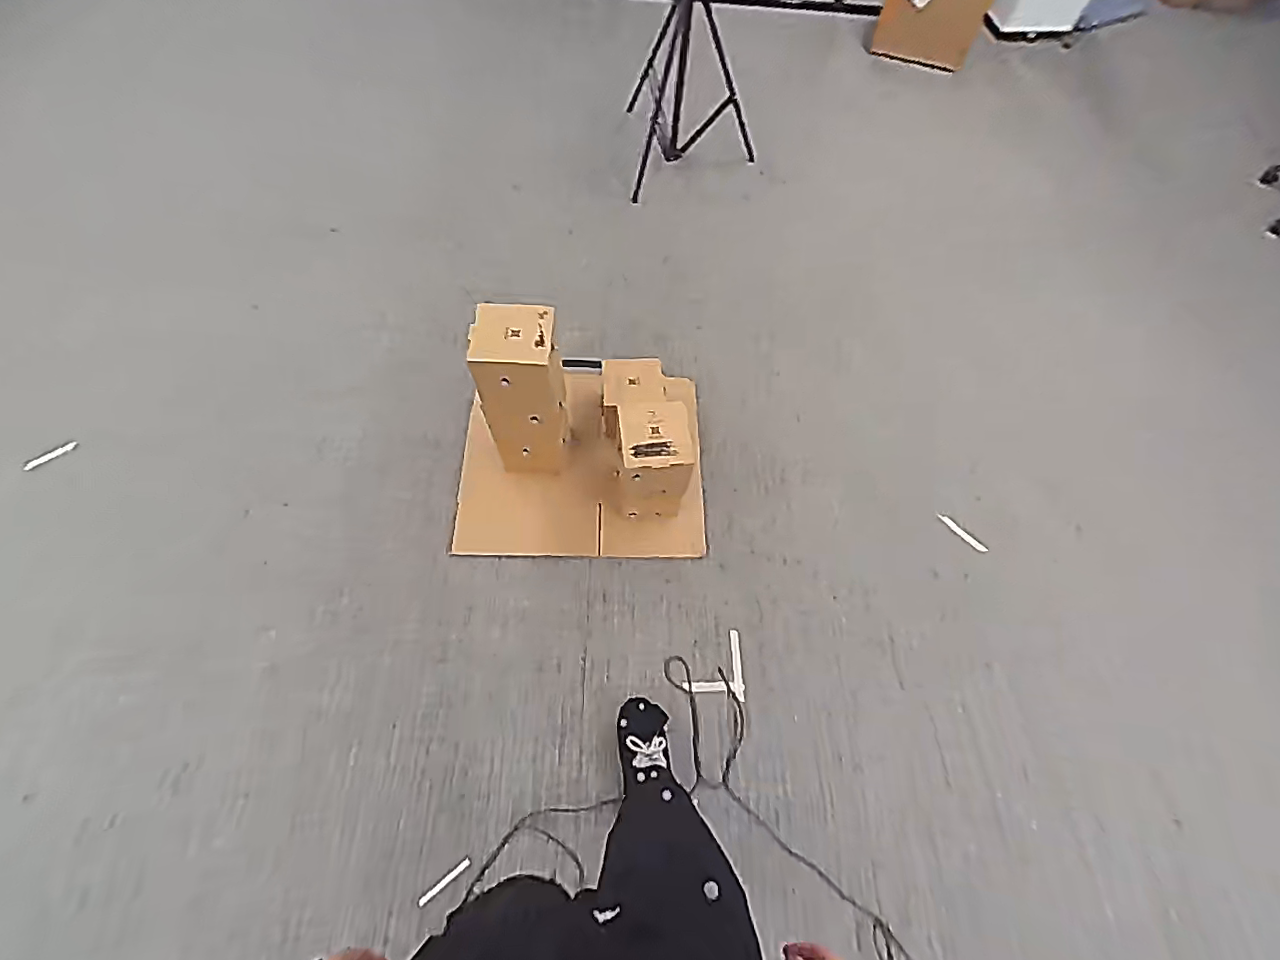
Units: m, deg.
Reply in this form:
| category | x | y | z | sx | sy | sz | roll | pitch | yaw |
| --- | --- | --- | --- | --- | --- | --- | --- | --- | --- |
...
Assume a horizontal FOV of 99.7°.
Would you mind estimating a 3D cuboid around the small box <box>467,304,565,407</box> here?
| category | x | y | z | sx | sy | sz | roll | pitch | yaw |
| --- | --- | --- | --- | --- | --- | --- | --- | --- | --- |
| small box | -0.275 | -0.281 | 1.239 | 0.179 | 0.176 | 0.168 | 2 | 64 | -1 |

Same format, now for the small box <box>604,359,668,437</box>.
| category | x | y | z | sx | sy | sz | roll | pitch | yaw |
| --- | --- | --- | --- | --- | --- | --- | --- | --- | --- |
| small box | -0.017 | -0.240 | 1.605 | 0.179 | 0.176 | 0.168 | -3 | 63 | -4 |

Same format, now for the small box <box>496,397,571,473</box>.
| category | x | y | z | sx | sy | sz | roll | pitch | yaw |
| --- | --- | --- | --- | --- | --- | --- | --- | --- | --- |
| small box | -0.292 | -0.131 | 1.531 | 0.179 | 0.176 | 0.168 | 4 | 64 | -1 |

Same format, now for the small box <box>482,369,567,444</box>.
| category | x | y | z | sx | sy | sz | roll | pitch | yaw |
| --- | --- | --- | --- | --- | --- | --- | --- | --- | --- |
| small box | -0.285 | -0.205 | 1.384 | 0.179 | 0.176 | 0.168 | 5 | 63 | 0 |

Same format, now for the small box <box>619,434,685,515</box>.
| category | x | y | z | sx | sy | sz | roll | pitch | yaw |
| --- | --- | --- | --- | --- | --- | --- | --- | --- | --- |
| small box | 0.027 | -0.008 | 1.491 | 0.168 | 0.176 | 0.179 | -2 | 64 | -5 |
